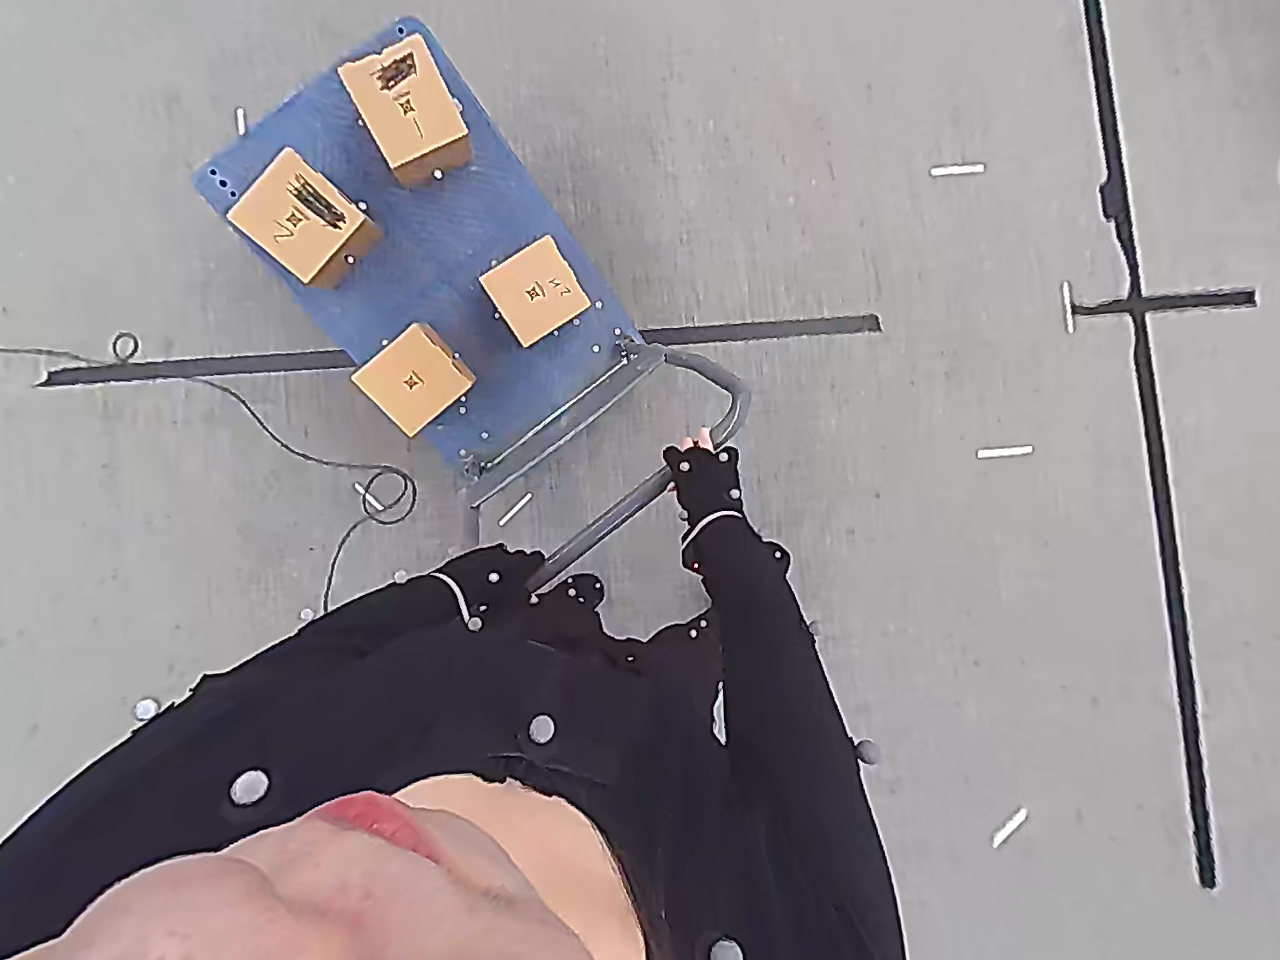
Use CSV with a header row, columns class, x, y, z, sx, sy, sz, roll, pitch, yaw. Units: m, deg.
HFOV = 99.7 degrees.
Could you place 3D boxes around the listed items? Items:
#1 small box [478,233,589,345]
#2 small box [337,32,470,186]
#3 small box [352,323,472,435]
class,x,y,z,sx,sy,sz,roll,pitch,yaw
small box,-0.235,-0.414,1.201,0.179,0.176,0.168,-34,110,-3
small box,-0.453,-0.717,1.067,0.168,0.176,0.179,-28,110,-5
small box,-0.488,-0.223,1.192,0.179,0.176,0.168,-42,110,-2
